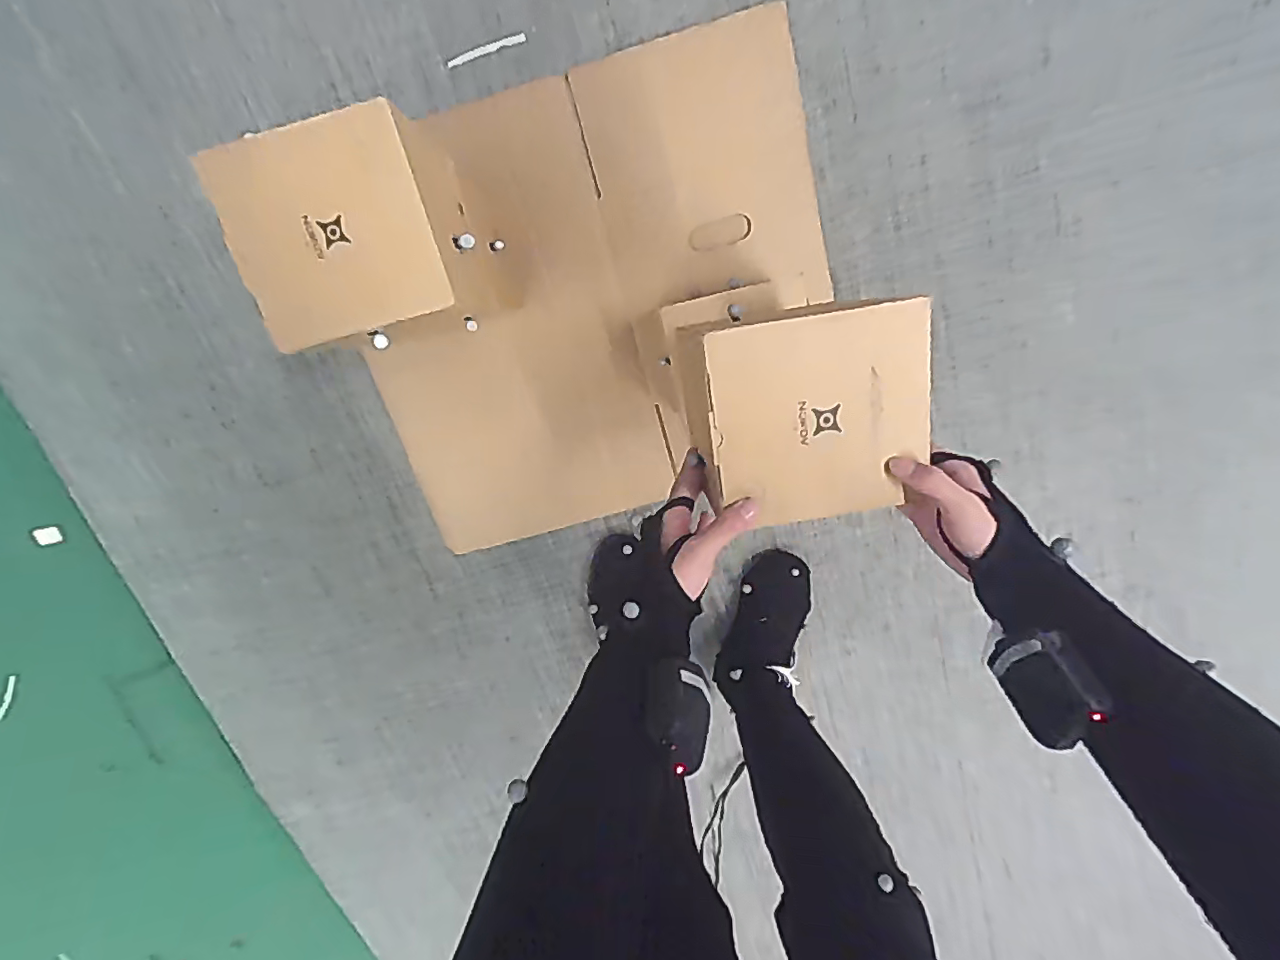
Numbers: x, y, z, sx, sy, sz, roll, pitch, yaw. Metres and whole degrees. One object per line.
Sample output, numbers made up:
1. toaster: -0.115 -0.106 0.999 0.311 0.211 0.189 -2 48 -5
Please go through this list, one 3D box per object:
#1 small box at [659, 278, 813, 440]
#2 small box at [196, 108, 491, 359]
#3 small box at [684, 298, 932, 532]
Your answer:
1. small box: 0.128 -0.167 0.730 0.179 0.176 0.168 -13 107 4
2. small box: -0.262 -0.229 0.535 0.179 0.176 0.168 -14 108 4
3. small box: 0.139 -0.069 0.500 0.179 0.176 0.168 -9 108 -1
